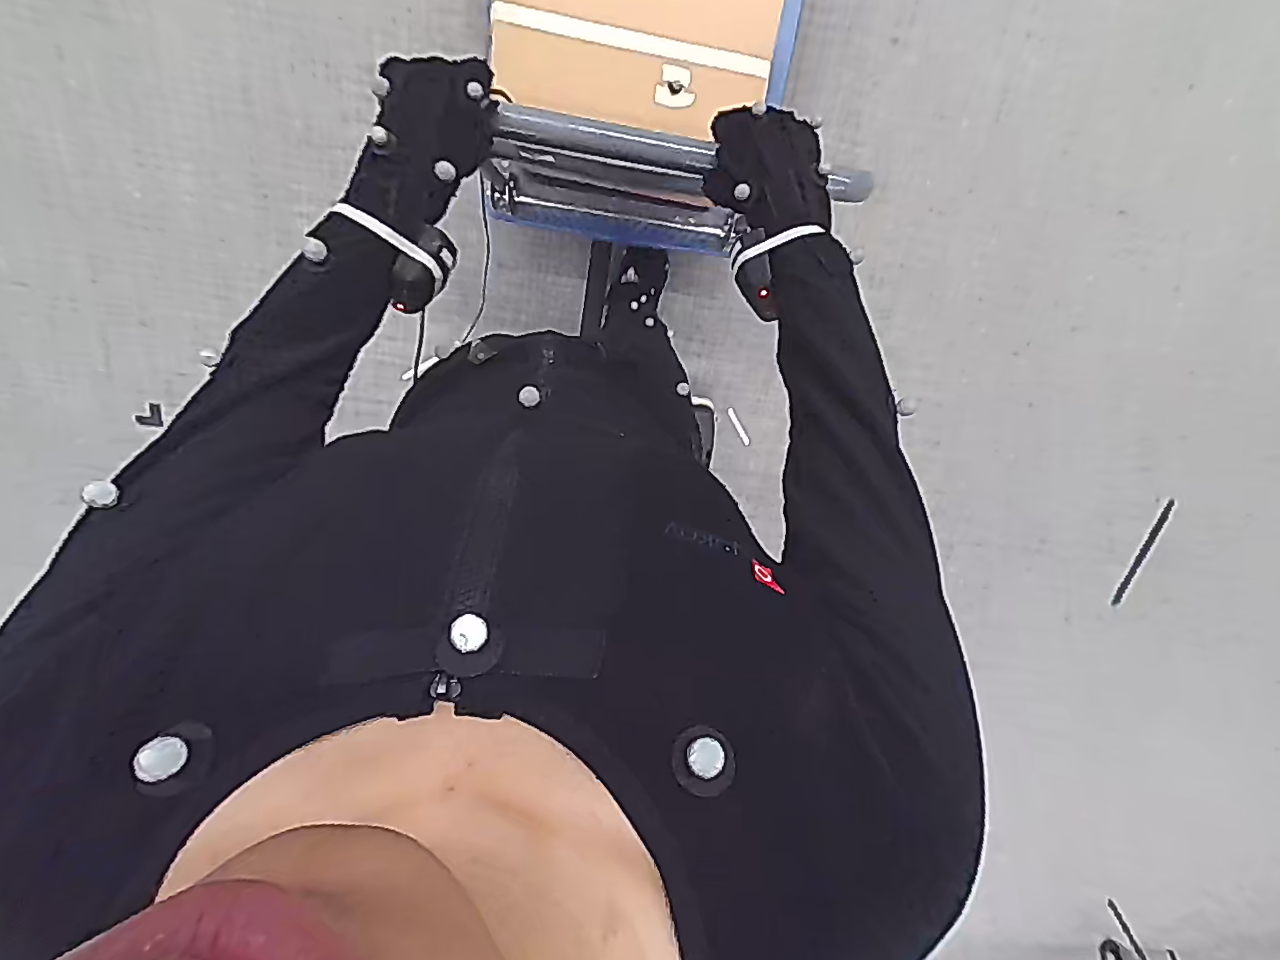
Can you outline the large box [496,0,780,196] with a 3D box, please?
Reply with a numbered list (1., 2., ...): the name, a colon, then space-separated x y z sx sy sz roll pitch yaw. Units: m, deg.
1. large box: -0.015 -0.706 0.928 0.408 0.320 0.320 7 112 -7
